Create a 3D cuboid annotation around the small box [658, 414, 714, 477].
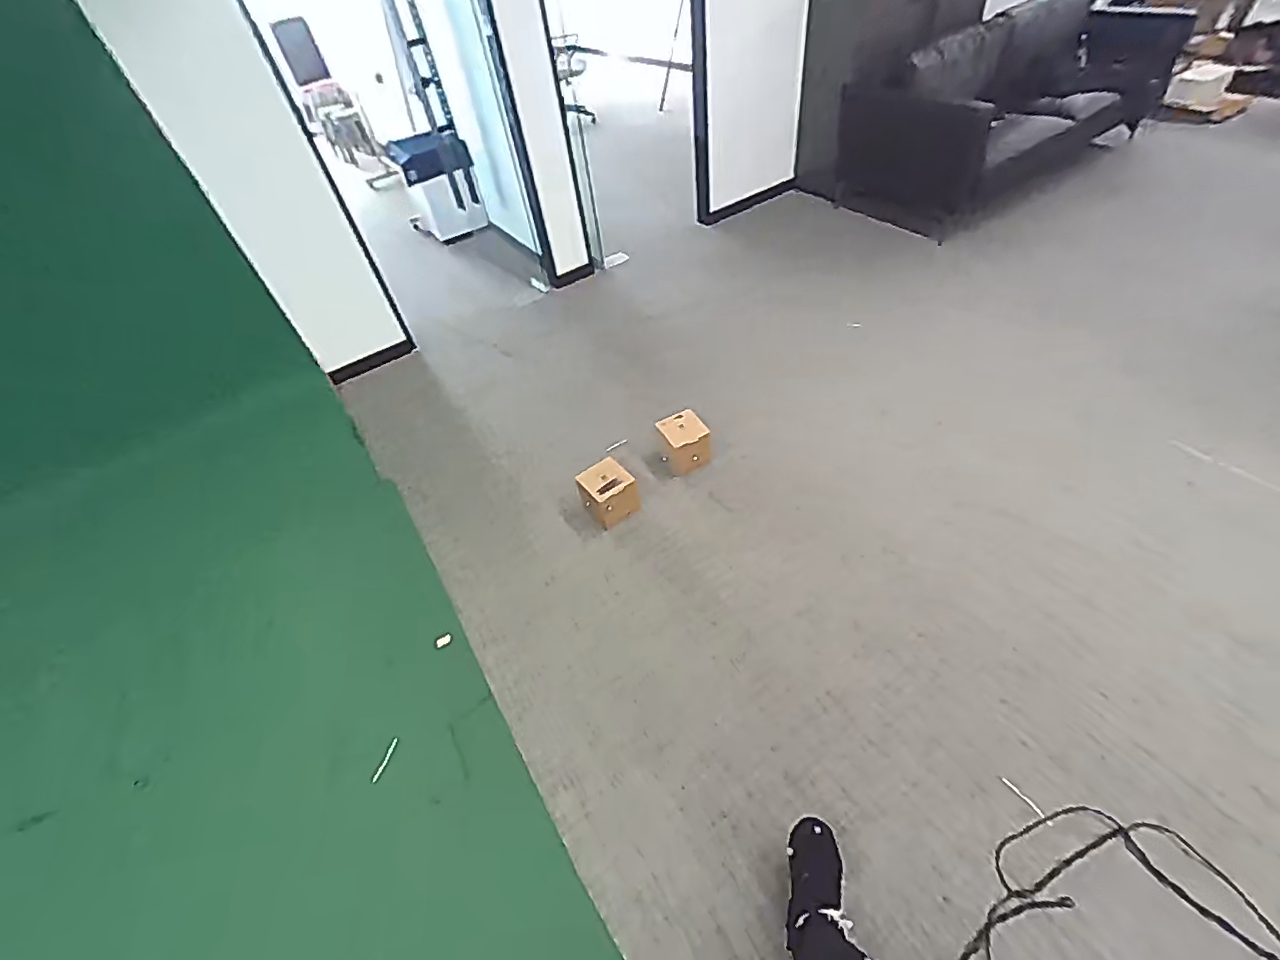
[{"bbox_3d":[0.191,-0.133,2.207,0.168,0.176,0.179,-24,49,-13],"label":"small box"}]
